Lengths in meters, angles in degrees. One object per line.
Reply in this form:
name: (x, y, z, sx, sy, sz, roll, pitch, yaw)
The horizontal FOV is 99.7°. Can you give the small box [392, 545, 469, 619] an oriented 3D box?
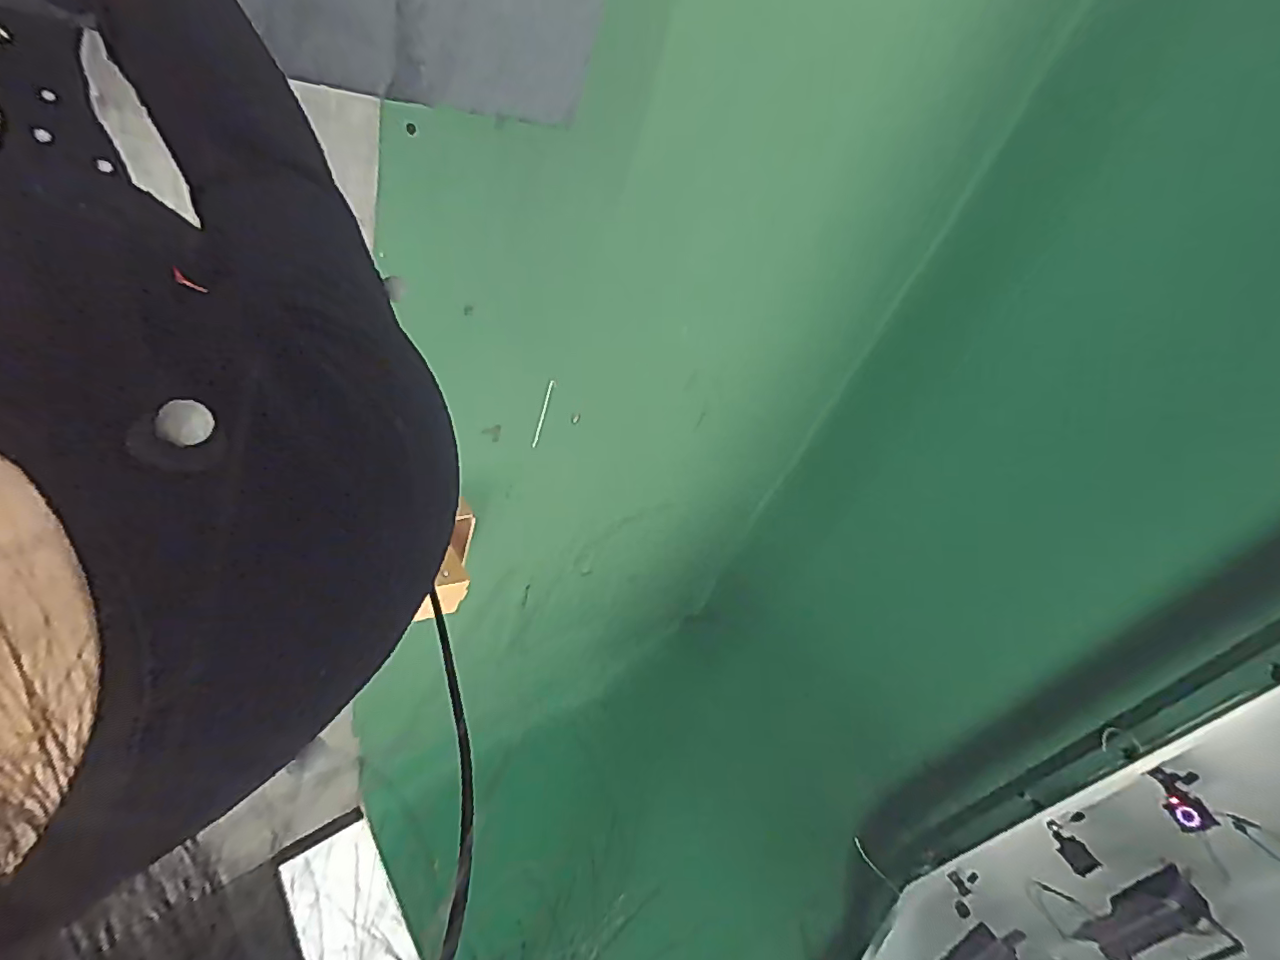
small box: (-0.727, 0.344, 1.860, 0.179, 0.176, 0.168, -3, 133, -49)
